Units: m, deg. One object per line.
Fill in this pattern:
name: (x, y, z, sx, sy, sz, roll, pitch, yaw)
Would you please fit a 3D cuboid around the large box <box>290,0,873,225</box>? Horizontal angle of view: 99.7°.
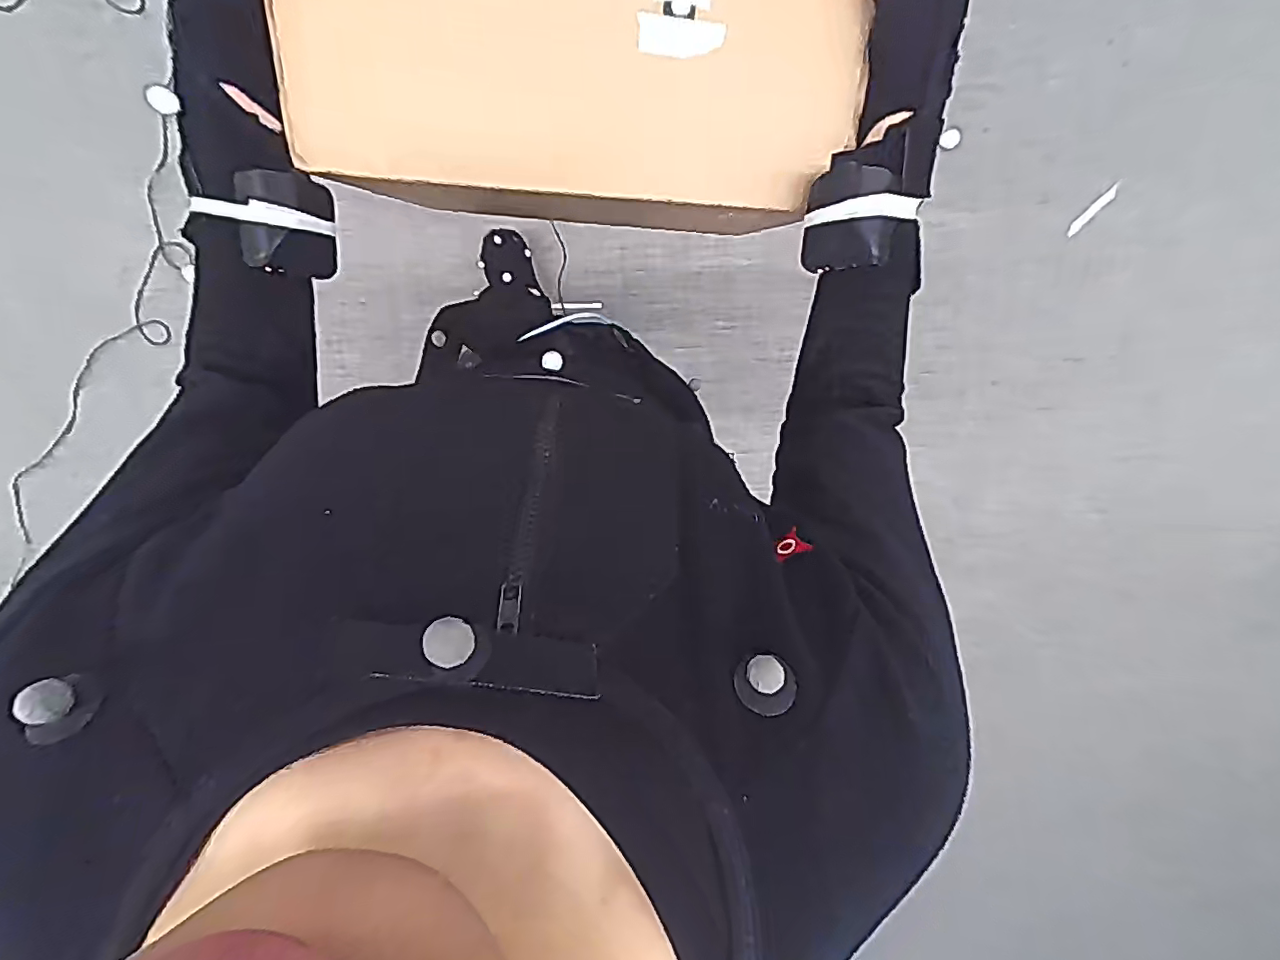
large box: (-0.043, -0.419, 0.491, 0.408, 0.320, 0.320, 2, 113, -5)
